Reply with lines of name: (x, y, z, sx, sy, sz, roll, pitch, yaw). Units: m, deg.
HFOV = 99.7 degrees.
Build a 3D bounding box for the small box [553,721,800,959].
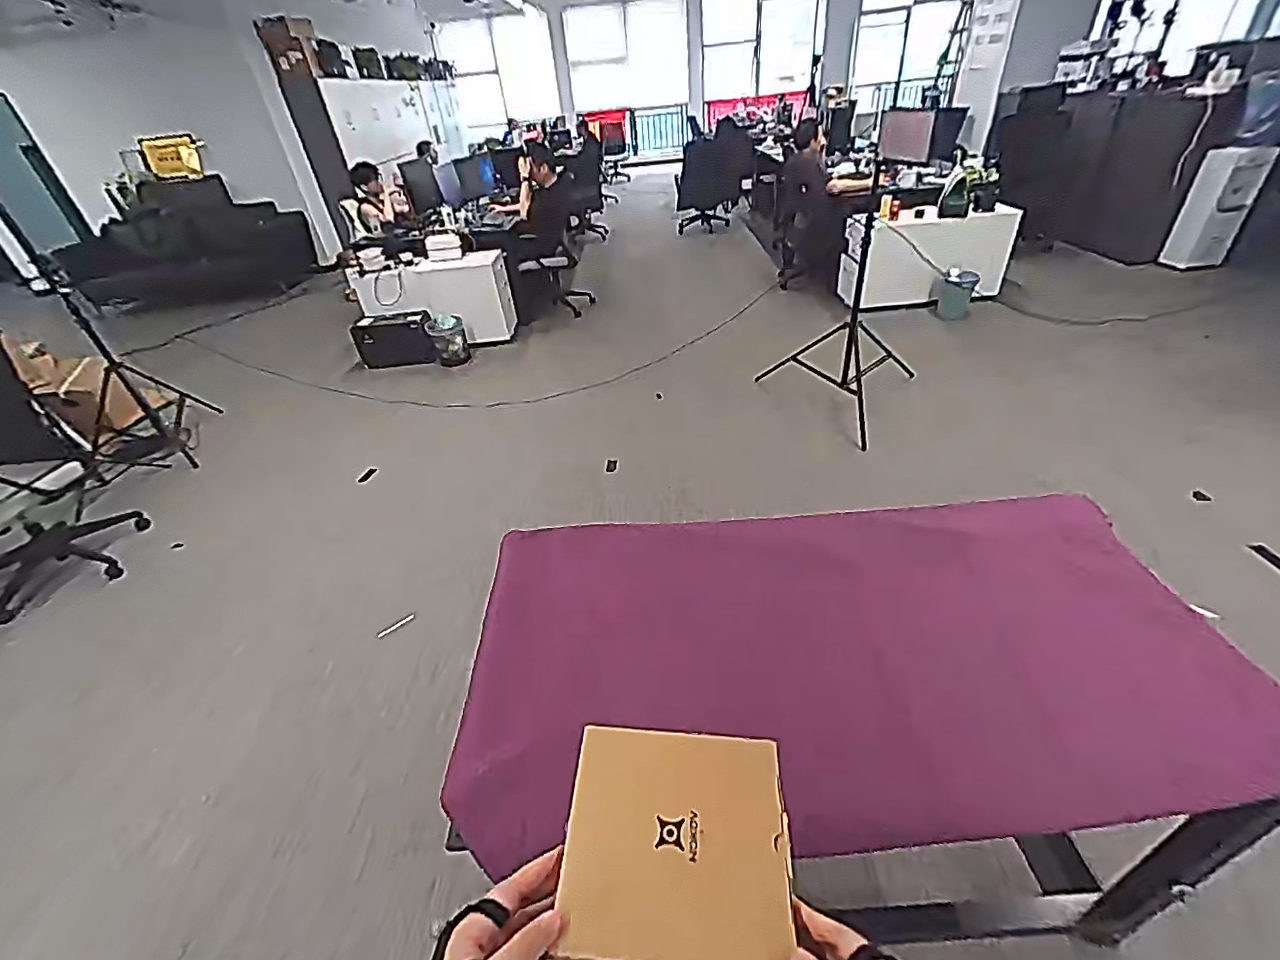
small box: (0.033, 0.342, 0.483, 0.179, 0.176, 0.168, 3, 37, 4)
